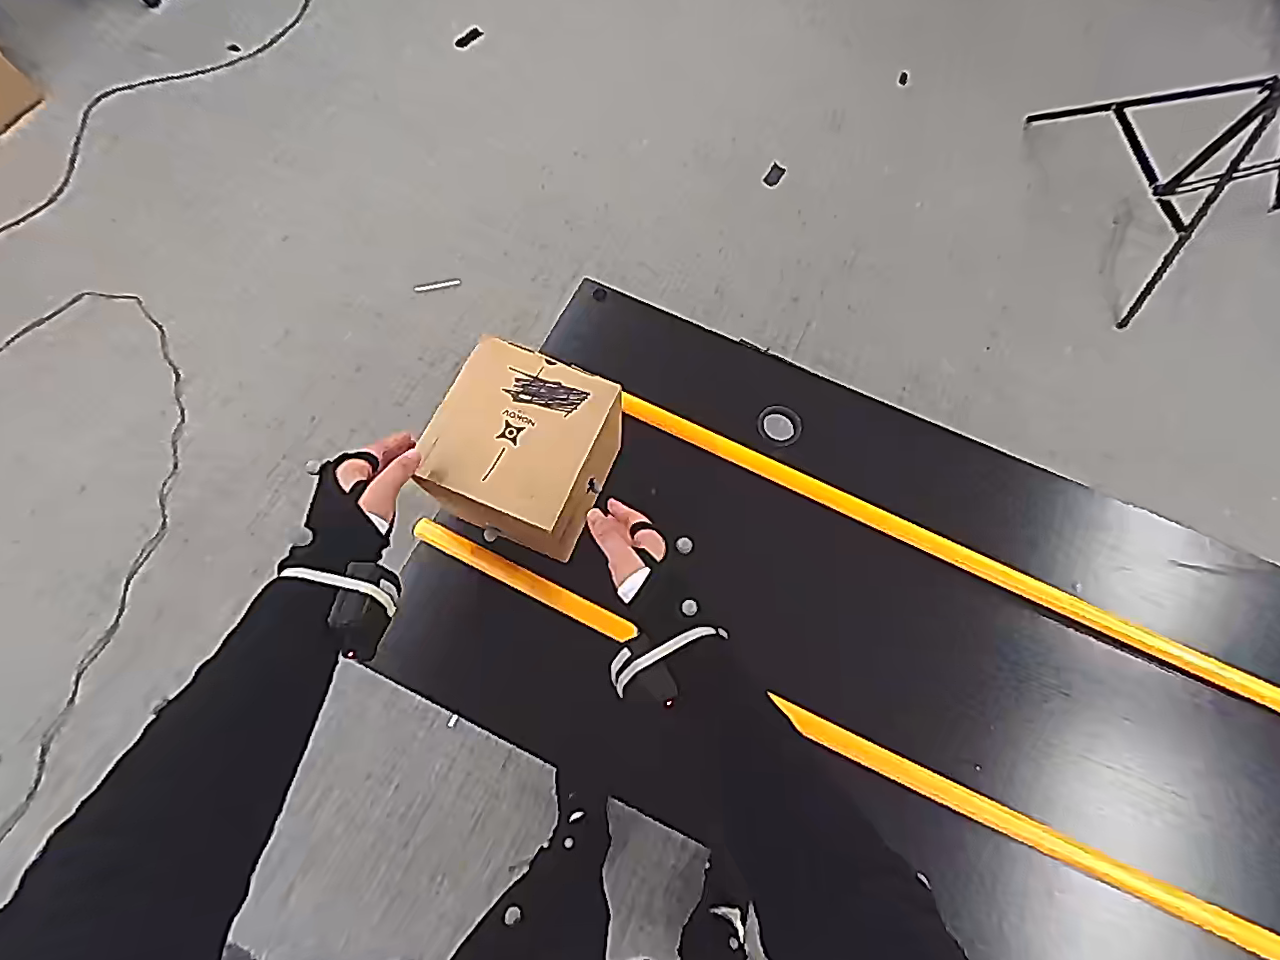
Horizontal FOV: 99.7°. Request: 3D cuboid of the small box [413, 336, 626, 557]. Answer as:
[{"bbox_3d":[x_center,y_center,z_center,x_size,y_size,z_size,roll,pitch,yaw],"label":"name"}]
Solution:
[{"bbox_3d":[-0.126,-0.029,0.635,0.168,0.176,0.179,22,72,6],"label":"small box"}]
